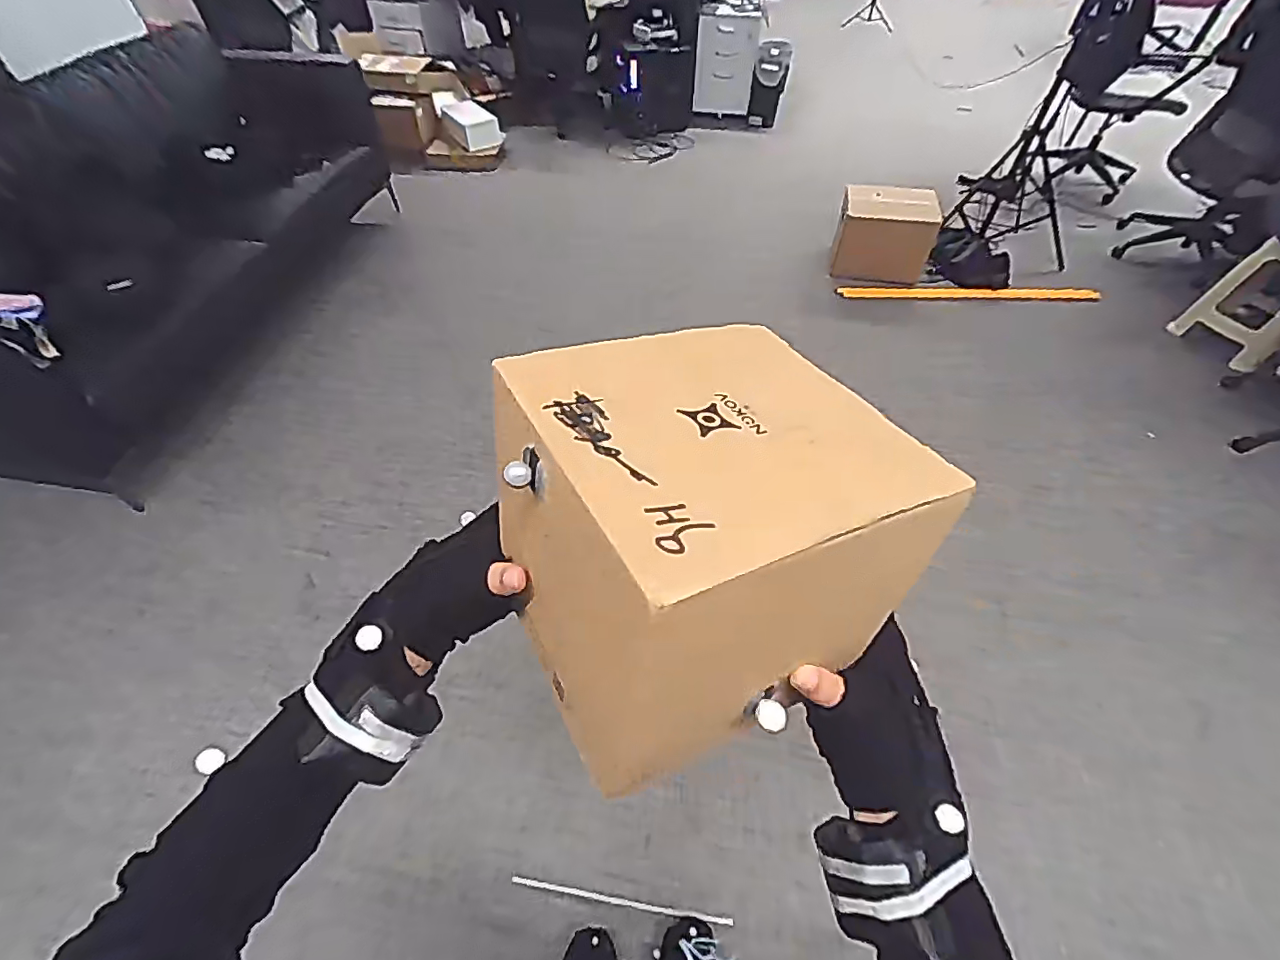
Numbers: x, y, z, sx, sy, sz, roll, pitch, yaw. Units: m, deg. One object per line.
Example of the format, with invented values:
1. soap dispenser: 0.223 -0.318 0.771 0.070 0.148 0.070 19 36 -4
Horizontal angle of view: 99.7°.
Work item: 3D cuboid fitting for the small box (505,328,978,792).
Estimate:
1. small box: 0.031 0.033 0.306 0.179 0.176 0.168 -14 45 -27
